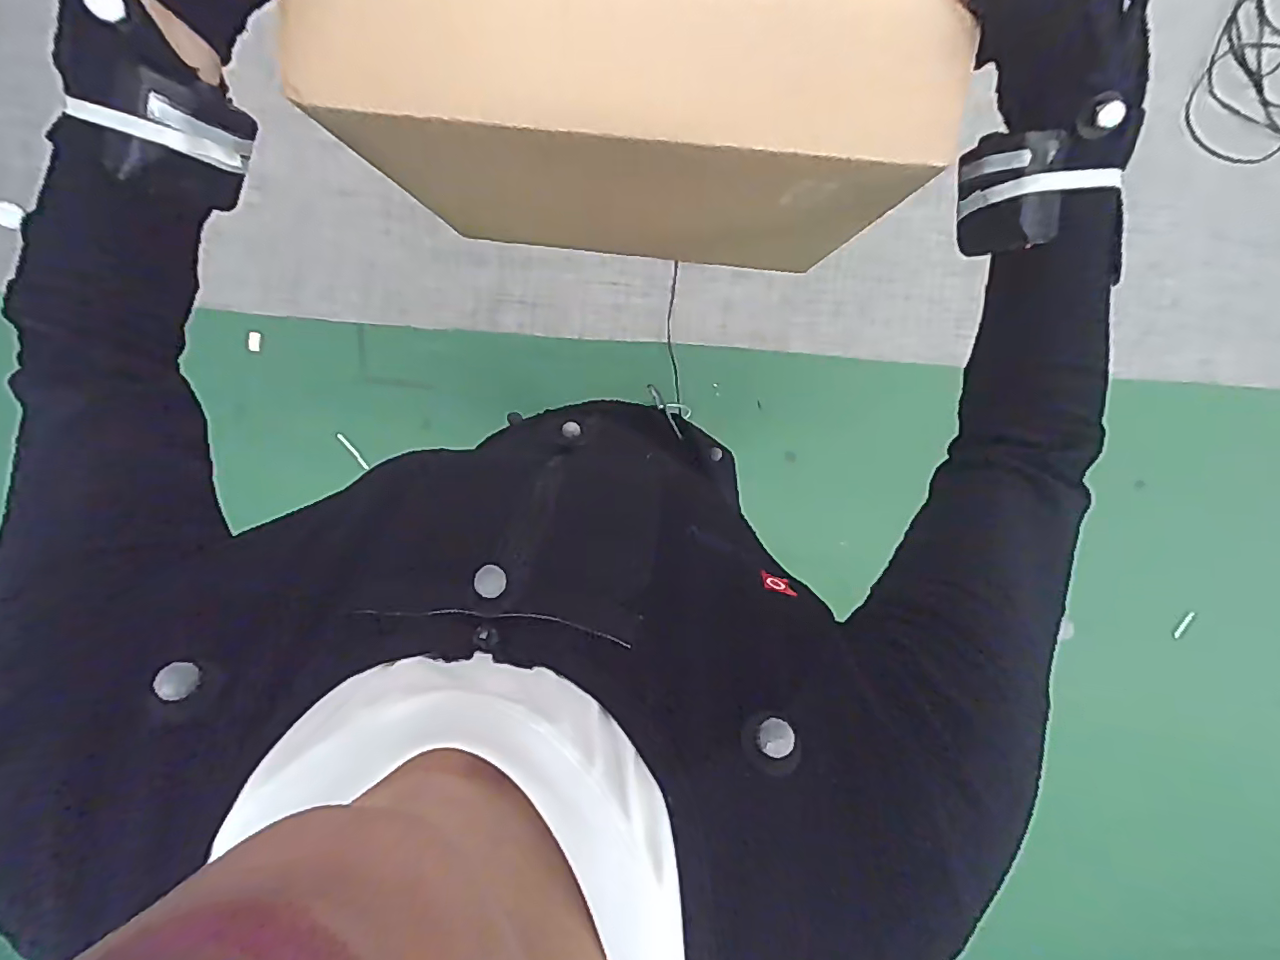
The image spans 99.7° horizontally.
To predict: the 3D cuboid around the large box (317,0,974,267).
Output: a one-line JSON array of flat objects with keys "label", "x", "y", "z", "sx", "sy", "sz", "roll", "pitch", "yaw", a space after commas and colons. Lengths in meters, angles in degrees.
[{"label": "large box", "x": 0.010, "y": -0.388, "z": 0.460, "sx": 0.408, "sy": 0.320, "sz": 0.320, "roll": 6, "pitch": 100, "yaw": 0}]
